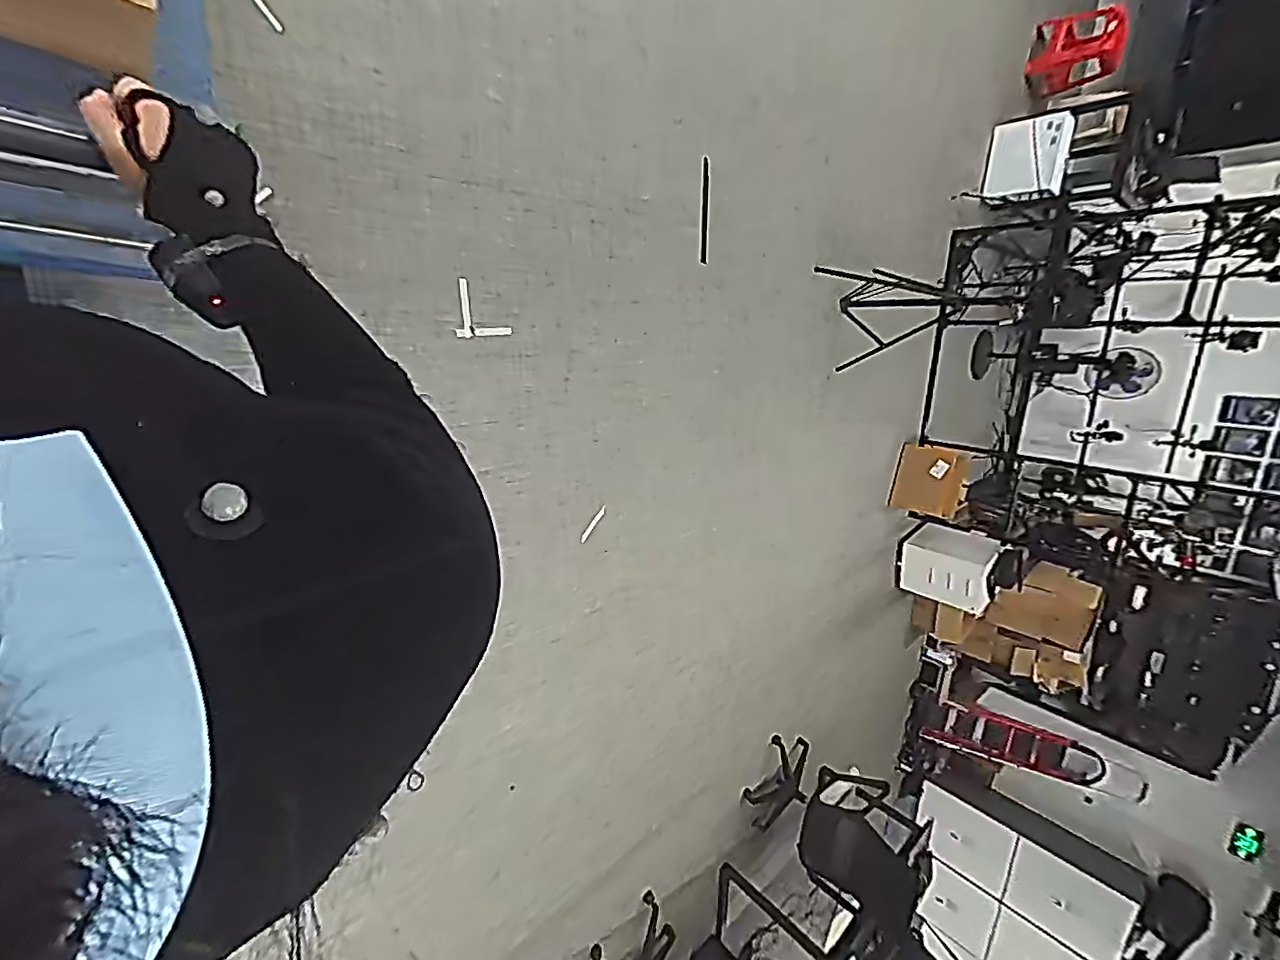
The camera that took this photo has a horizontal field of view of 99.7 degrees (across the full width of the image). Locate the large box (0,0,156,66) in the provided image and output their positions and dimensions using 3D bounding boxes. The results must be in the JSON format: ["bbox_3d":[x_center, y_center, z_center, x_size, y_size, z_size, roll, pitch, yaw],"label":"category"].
[{"bbox_3d":[-0.857,-0.782,0.636,0.408,0.320,0.320,-6,106,-42],"label":"large box"}]
